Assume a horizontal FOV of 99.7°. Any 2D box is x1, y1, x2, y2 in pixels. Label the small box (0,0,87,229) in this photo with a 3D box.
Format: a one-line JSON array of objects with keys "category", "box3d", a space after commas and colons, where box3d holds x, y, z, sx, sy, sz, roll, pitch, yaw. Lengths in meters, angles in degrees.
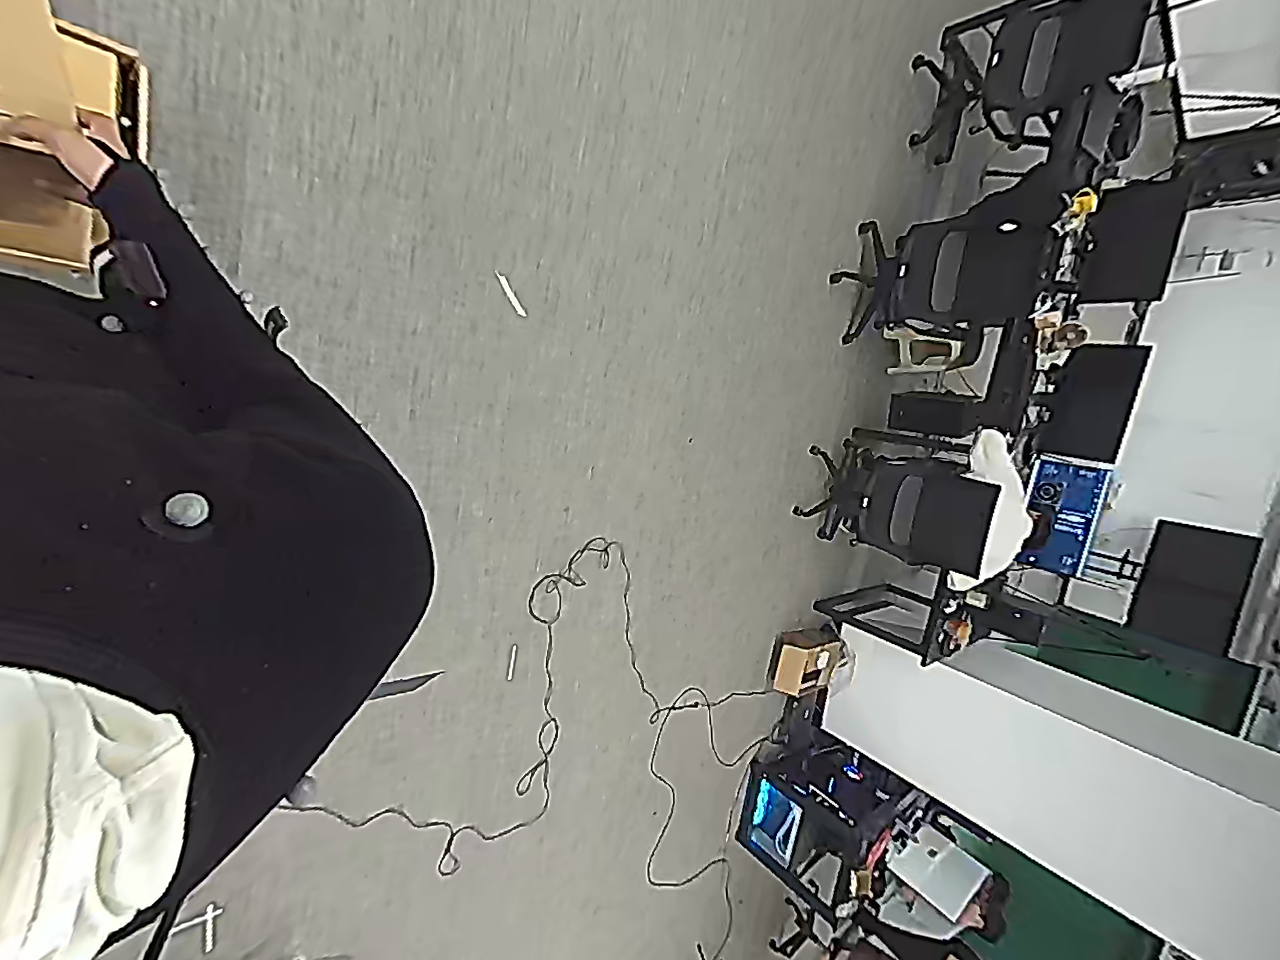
[{"category": "small box", "box3d": [-0.655, -0.356, 0.497, 0.168, 0.176, 0.179, -17, 98, -53]}]
